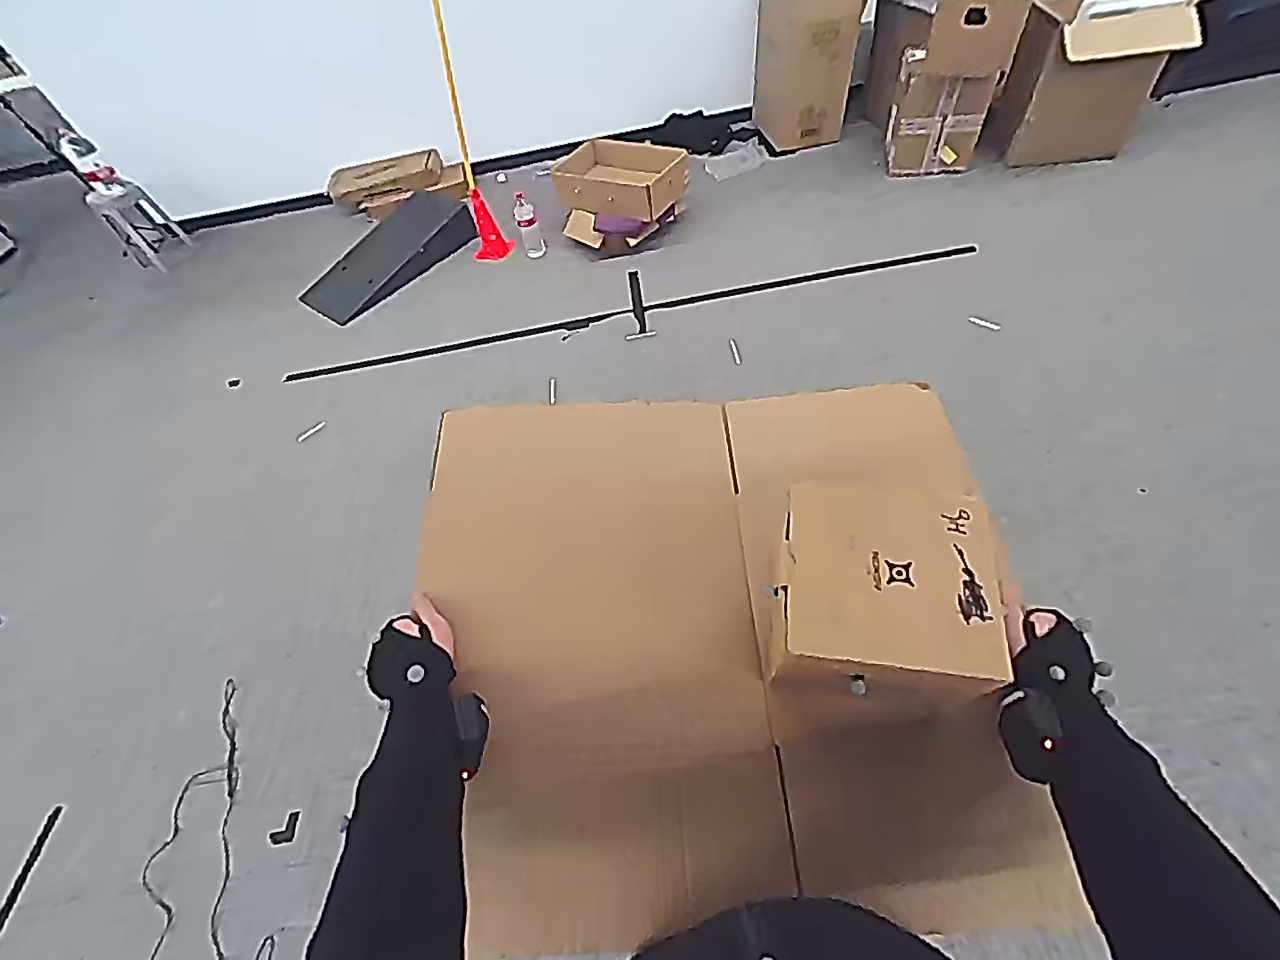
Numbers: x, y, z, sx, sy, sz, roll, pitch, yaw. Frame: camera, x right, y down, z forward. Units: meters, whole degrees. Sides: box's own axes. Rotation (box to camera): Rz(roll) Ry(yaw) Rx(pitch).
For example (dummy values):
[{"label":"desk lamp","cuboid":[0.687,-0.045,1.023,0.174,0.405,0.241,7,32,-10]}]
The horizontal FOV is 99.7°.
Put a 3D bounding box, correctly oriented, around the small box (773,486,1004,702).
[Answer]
[{"label":"small box","cuboid":[0.232,0.121,0.554,0.179,0.176,0.168,4,61,12]}]
